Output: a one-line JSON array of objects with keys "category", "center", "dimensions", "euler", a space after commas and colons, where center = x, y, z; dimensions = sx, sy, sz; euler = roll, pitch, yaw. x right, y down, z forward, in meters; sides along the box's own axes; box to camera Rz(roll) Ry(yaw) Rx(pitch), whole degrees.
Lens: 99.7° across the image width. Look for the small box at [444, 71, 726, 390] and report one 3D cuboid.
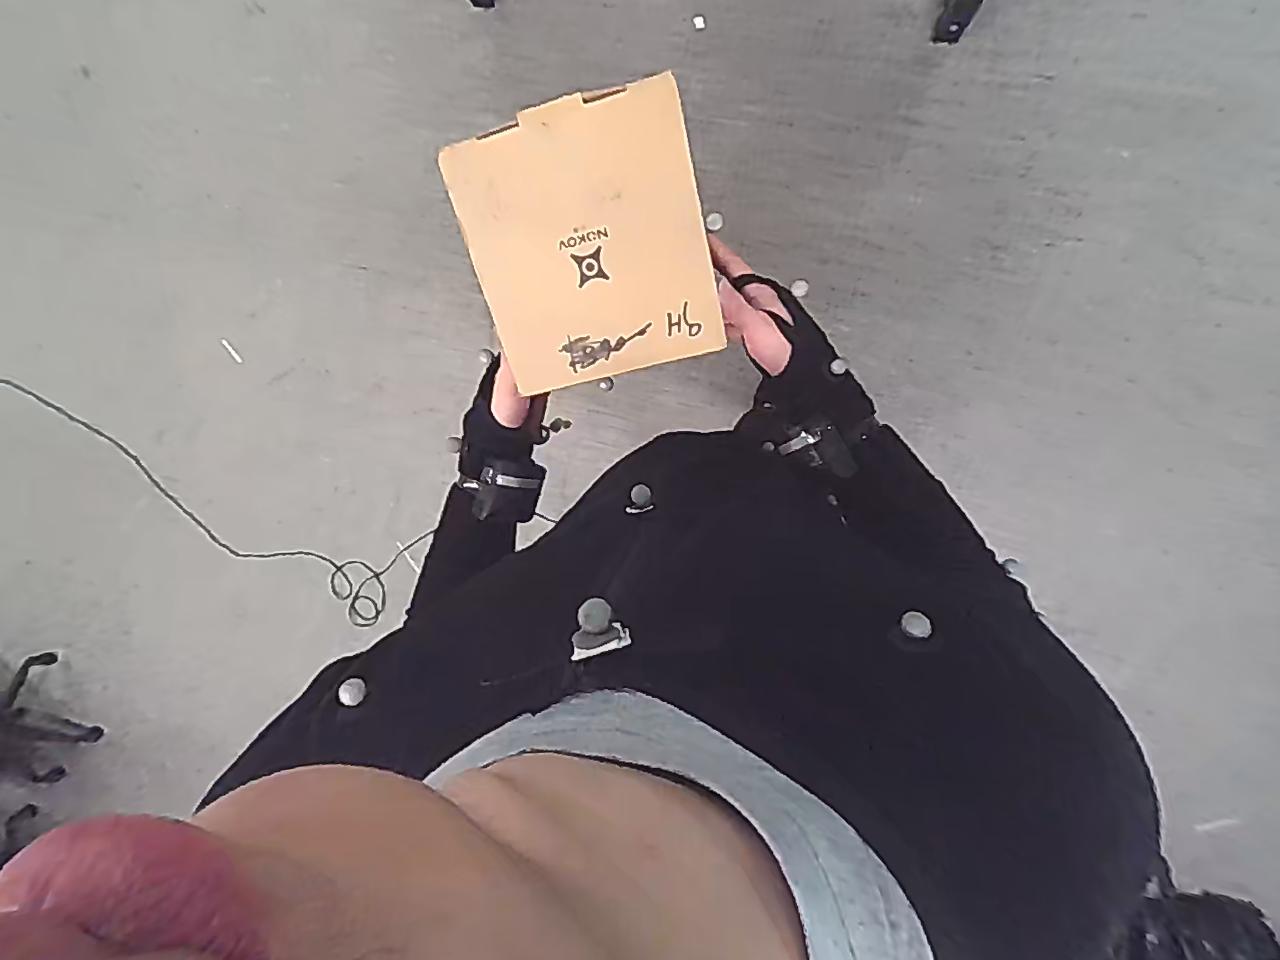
[{"category": "small box", "center": [-0.027, -0.193, 0.451], "dimensions": [0.168, 0.176, 0.179], "euler": [-11, 112, 12]}]
